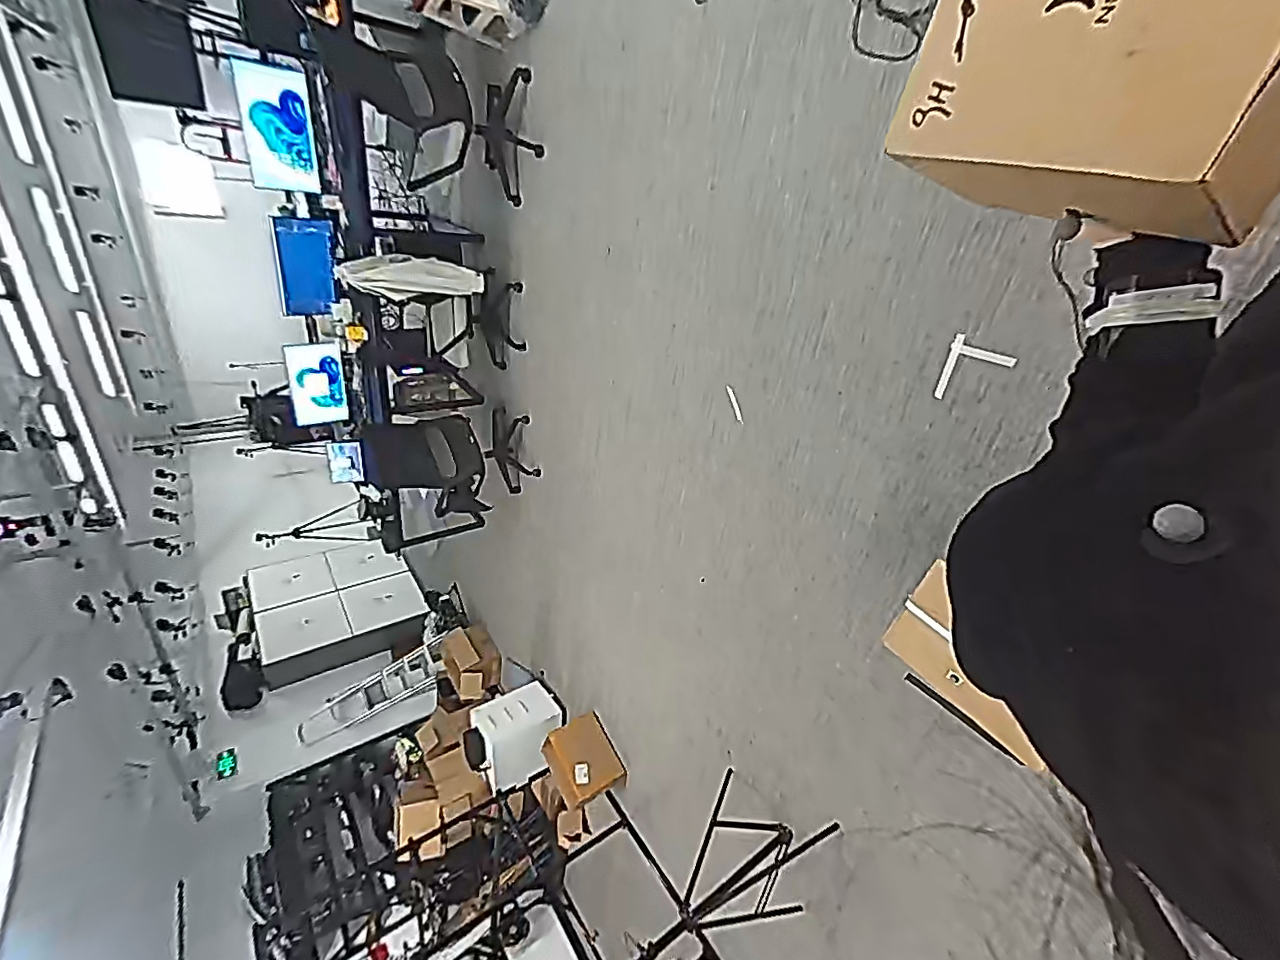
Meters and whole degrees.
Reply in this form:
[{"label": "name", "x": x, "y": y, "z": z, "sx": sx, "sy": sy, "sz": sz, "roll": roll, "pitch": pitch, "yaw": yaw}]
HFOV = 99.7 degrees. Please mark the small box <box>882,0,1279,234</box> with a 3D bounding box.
[{"label": "small box", "x": 0.292, "y": -0.257, "z": 0.320, "sx": 0.179, "sy": 0.176, "sz": 0.168, "roll": 40, "pitch": 125, "yaw": 41}]
